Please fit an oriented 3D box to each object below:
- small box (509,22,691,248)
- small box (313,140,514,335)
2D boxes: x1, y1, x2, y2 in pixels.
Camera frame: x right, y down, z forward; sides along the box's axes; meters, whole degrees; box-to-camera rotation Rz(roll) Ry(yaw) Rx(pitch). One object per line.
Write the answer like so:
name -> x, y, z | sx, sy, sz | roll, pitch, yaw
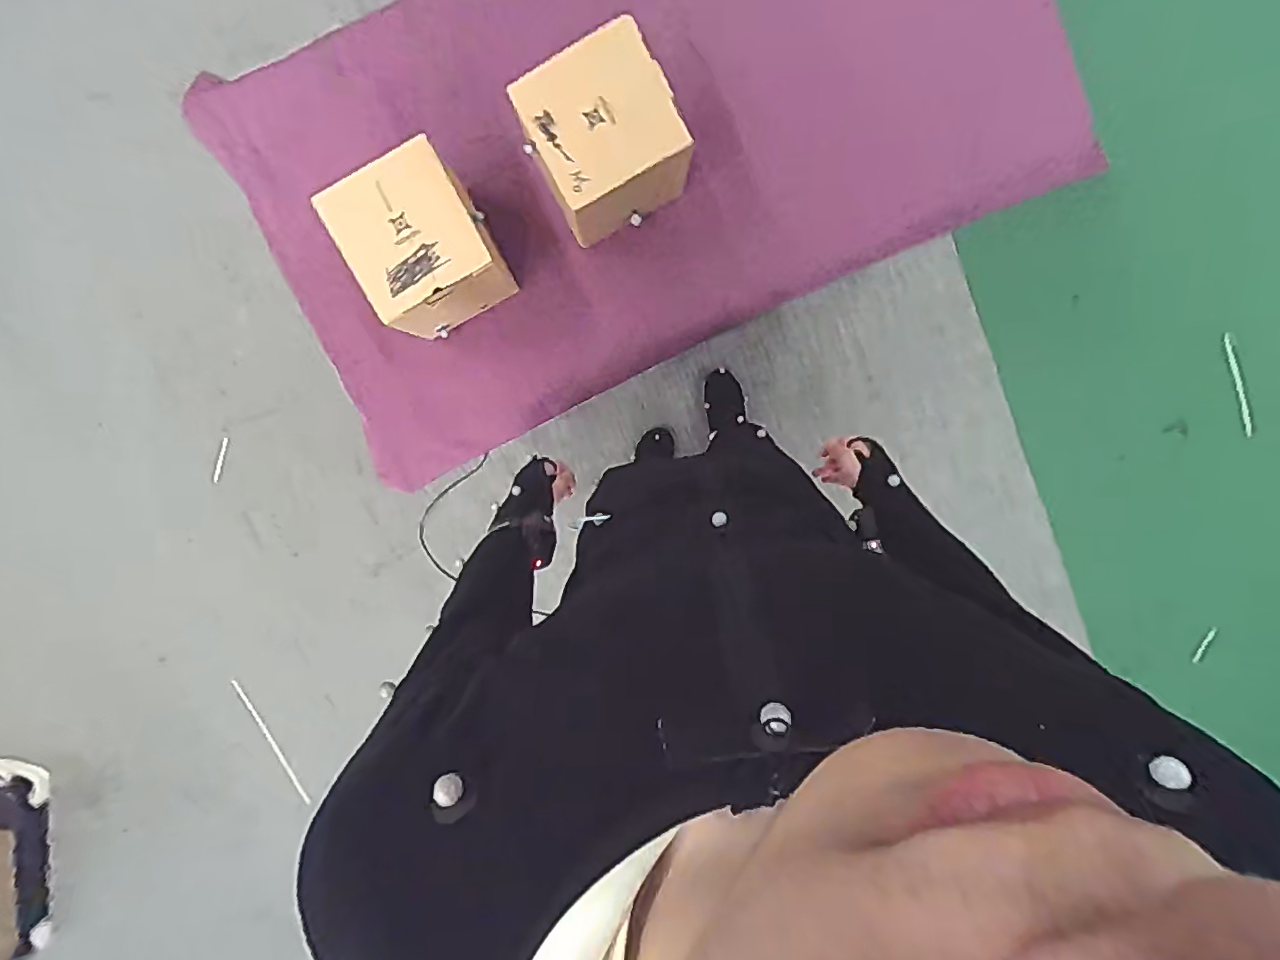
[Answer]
small box -> -0.051, -0.453, 0.743 | 0.179, 0.176, 0.168 | -29, 97, 3
small box -> -0.298, -0.318, 0.757 | 0.168, 0.176, 0.179 | -28, 96, 3
